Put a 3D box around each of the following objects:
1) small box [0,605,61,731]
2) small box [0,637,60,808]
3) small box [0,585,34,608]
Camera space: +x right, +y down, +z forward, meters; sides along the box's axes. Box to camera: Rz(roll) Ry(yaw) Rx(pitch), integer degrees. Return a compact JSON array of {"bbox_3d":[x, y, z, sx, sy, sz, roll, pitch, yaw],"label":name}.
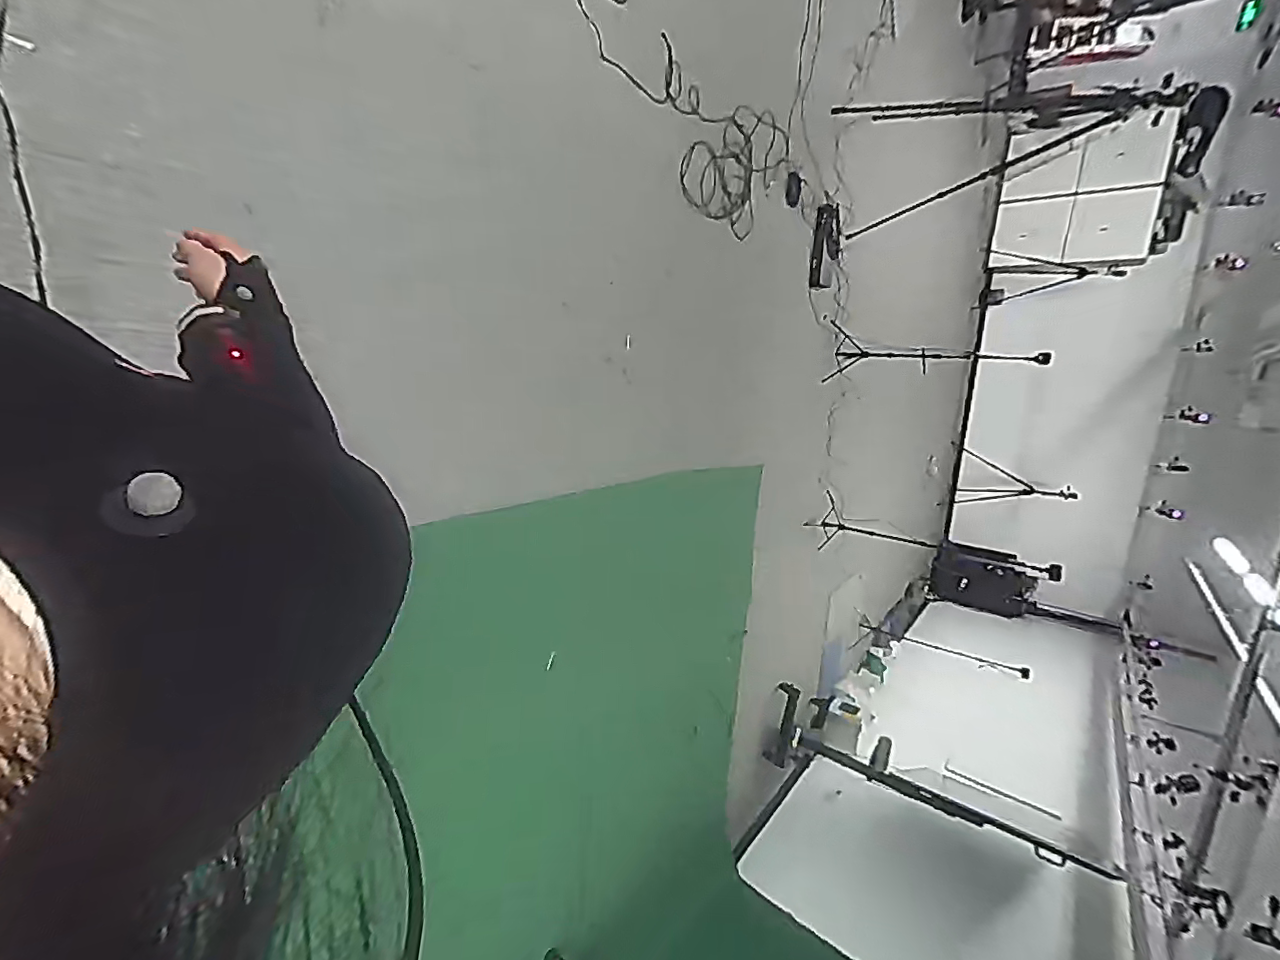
[{"bbox_3d":[-1.014,0.303,0.814,0.179,0.176,0.168,-7,104,-49],"label":"small box"},{"bbox_3d":[-0.894,0.328,0.702,0.179,0.176,0.168,-8,106,-50],"label":"small box"},{"bbox_3d":[-1.144,0.287,0.913,0.168,0.176,0.179,-9,105,-50],"label":"small box"}]
